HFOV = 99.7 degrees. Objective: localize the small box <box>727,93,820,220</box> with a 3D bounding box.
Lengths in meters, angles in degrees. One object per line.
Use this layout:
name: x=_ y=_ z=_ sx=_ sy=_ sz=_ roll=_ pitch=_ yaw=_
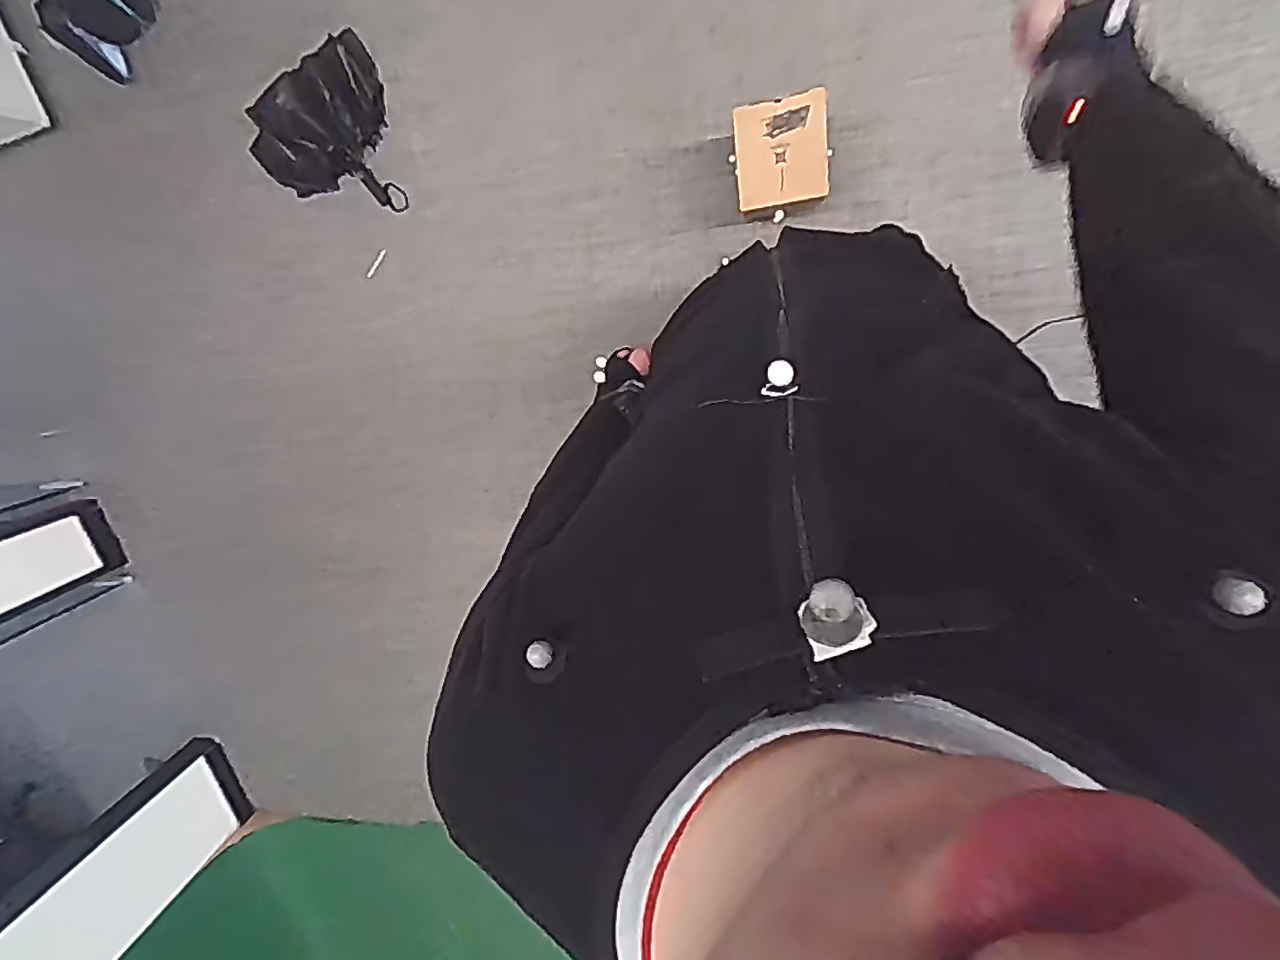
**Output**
small box: x=0.263 y=-0.632 z=1.079 sx=0.168 sy=0.176 sz=0.179 roll=-4 pitch=111 yaw=14
